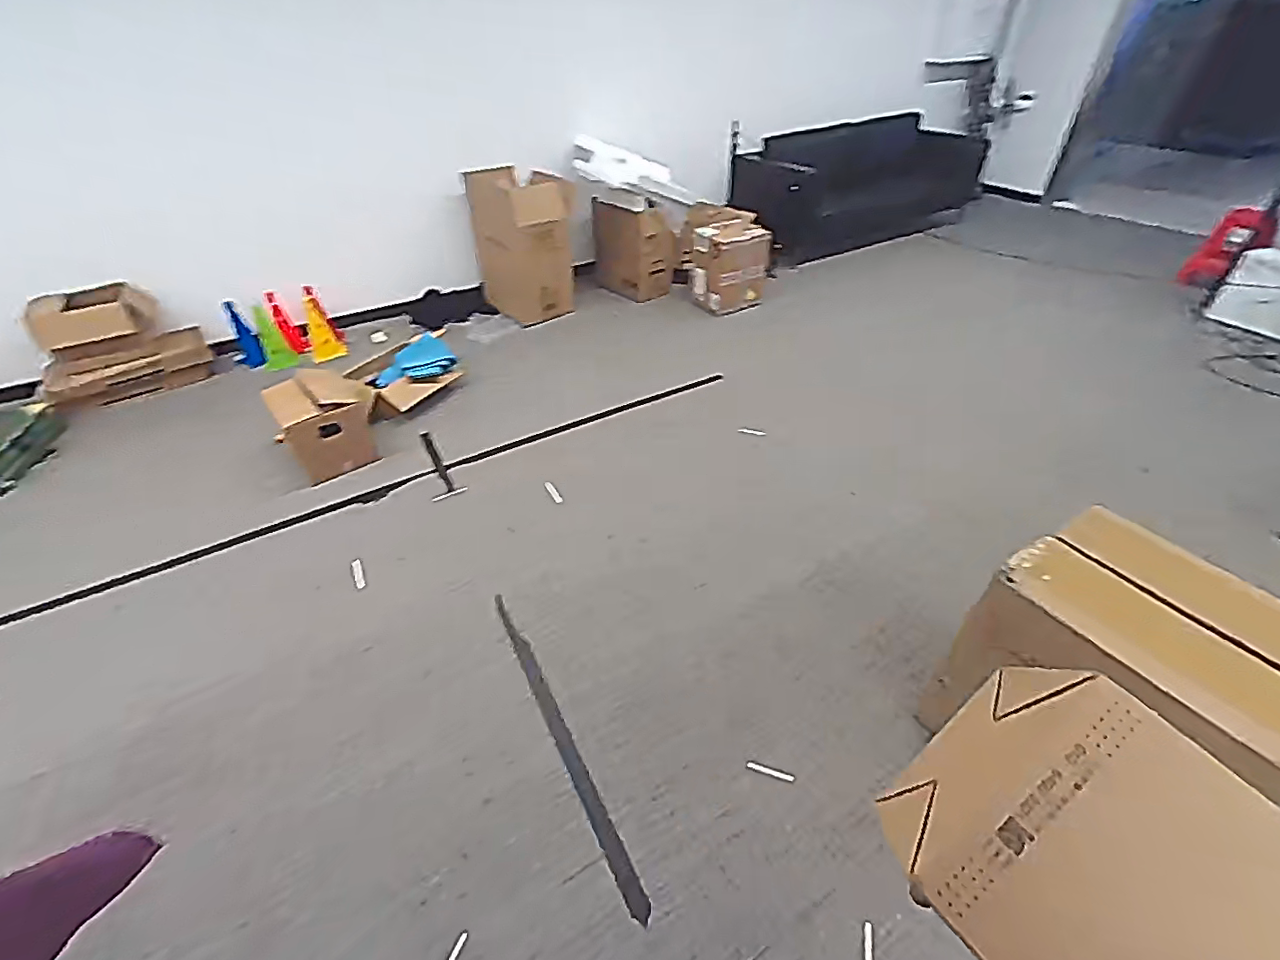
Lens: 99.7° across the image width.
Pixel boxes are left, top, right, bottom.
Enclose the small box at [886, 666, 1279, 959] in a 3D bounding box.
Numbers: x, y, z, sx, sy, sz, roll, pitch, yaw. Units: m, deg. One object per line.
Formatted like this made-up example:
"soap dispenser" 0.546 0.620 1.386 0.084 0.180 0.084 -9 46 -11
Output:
"small box" 0.289 0.240 0.351 0.168 0.179 0.176 -47 66 -1
